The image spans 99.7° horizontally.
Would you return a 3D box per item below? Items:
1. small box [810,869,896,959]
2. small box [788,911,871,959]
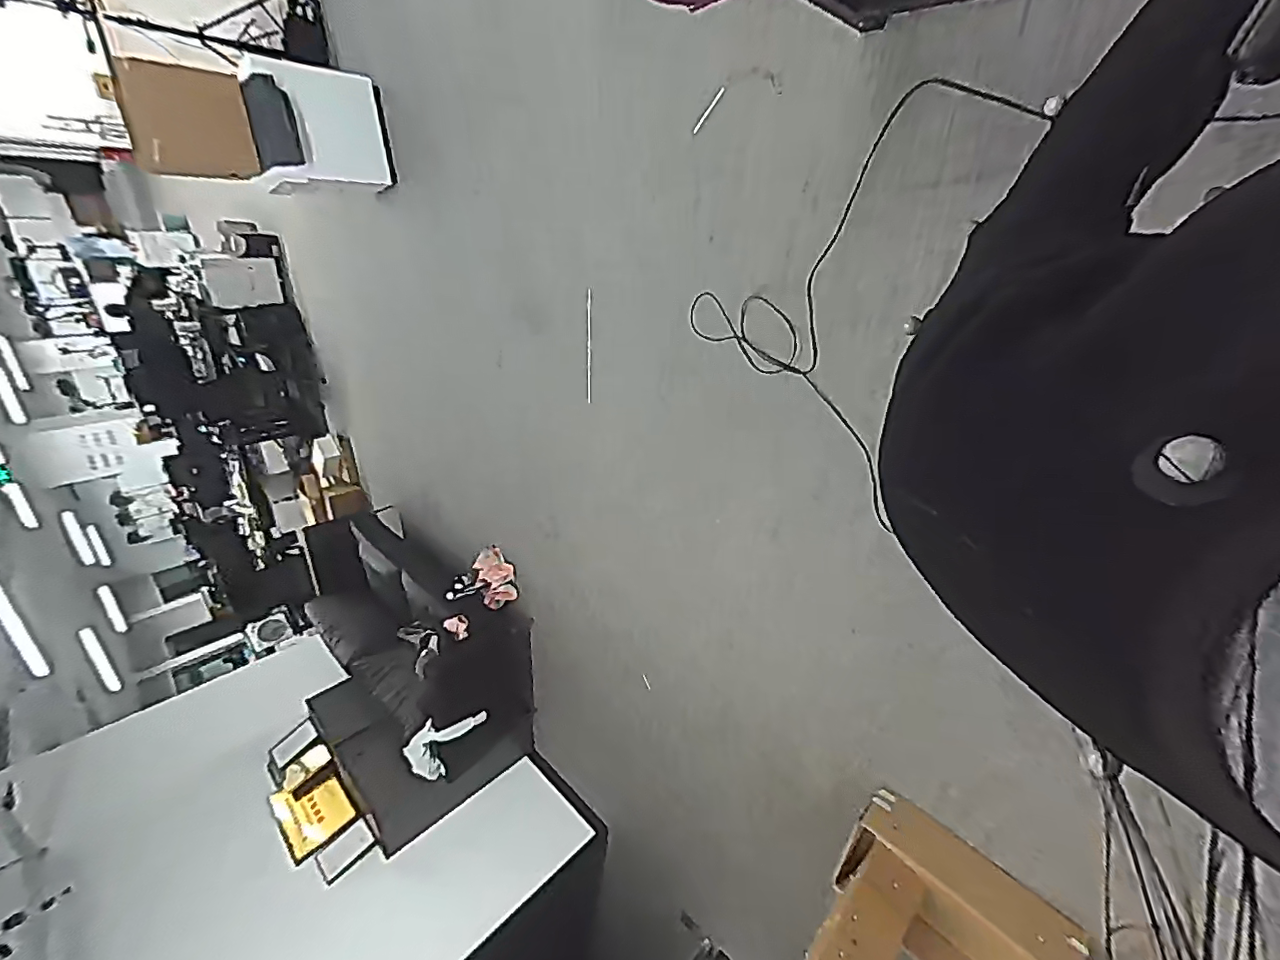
[{"bbox_3d":[0.690,1.419,1.746,0.179,0.176,0.168,38,130,30],"label":"small box"},{"bbox_3d":[0.575,1.465,1.640,0.168,0.176,0.179,41,132,29],"label":"small box"}]
